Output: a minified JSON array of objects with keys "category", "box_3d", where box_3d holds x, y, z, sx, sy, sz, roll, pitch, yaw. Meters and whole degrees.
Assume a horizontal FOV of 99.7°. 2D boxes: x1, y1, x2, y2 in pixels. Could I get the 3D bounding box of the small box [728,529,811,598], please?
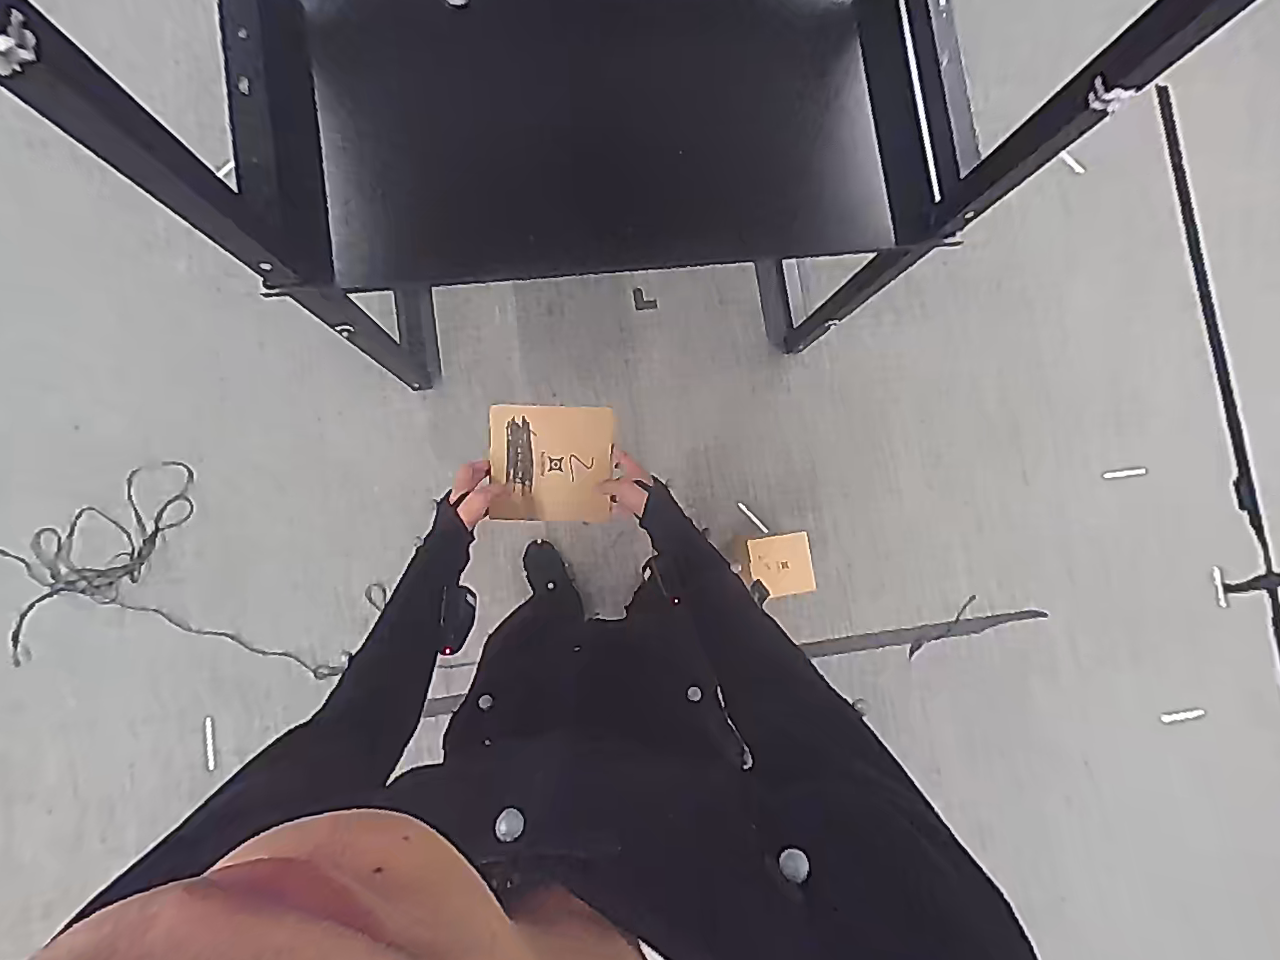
[{"category":"small box","box_3d":[0.370,0.235,1.570,0.179,0.176,0.168,-8,87,-6]}]
